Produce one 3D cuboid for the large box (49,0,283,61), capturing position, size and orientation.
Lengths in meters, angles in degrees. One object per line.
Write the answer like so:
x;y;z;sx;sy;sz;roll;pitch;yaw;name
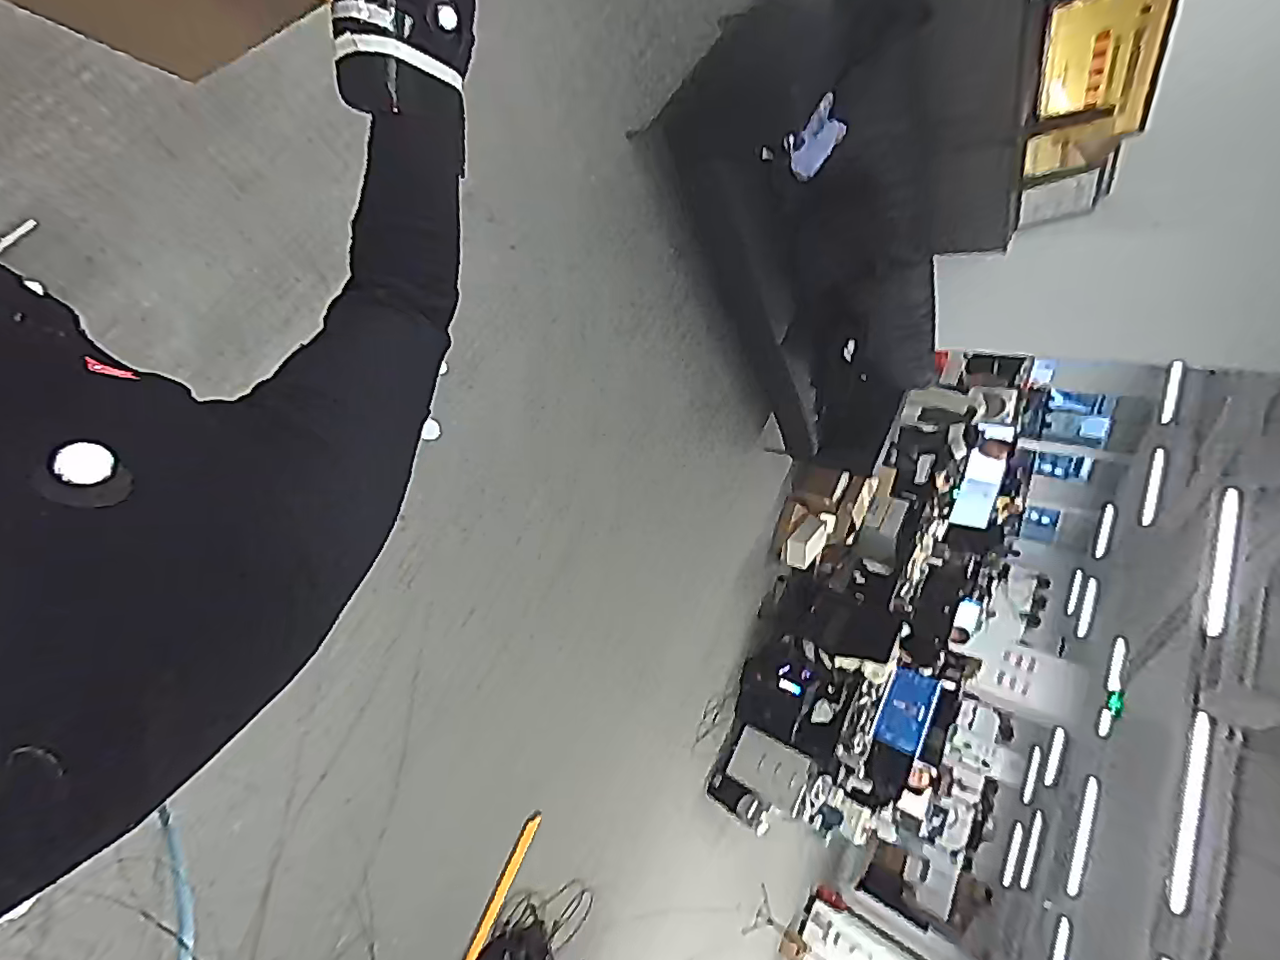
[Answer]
-0.407;-0.490;0.244;0.408;0.320;0.320;-3;109;-51;large box
